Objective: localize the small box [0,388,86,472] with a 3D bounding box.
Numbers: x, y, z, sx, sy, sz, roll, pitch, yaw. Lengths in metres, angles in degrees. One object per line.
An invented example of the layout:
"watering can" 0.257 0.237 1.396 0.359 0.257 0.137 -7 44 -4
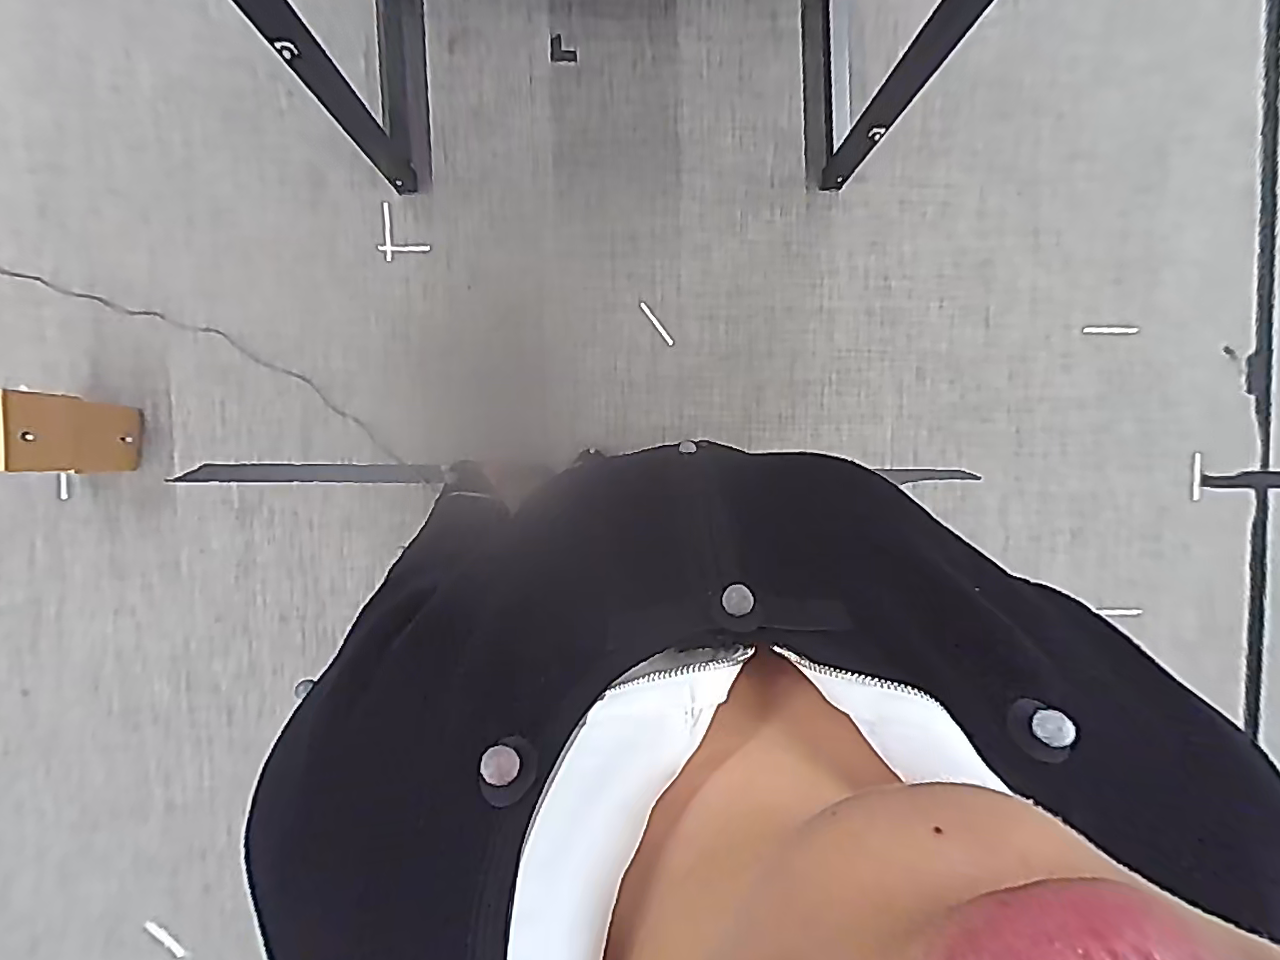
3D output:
"small box" -1.390 -0.110 1.199 0.168 0.176 0.179 1 93 -2

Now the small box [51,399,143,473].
"small box" -1.412 -0.114 1.363 0.168 0.176 0.179 6 92 -2
